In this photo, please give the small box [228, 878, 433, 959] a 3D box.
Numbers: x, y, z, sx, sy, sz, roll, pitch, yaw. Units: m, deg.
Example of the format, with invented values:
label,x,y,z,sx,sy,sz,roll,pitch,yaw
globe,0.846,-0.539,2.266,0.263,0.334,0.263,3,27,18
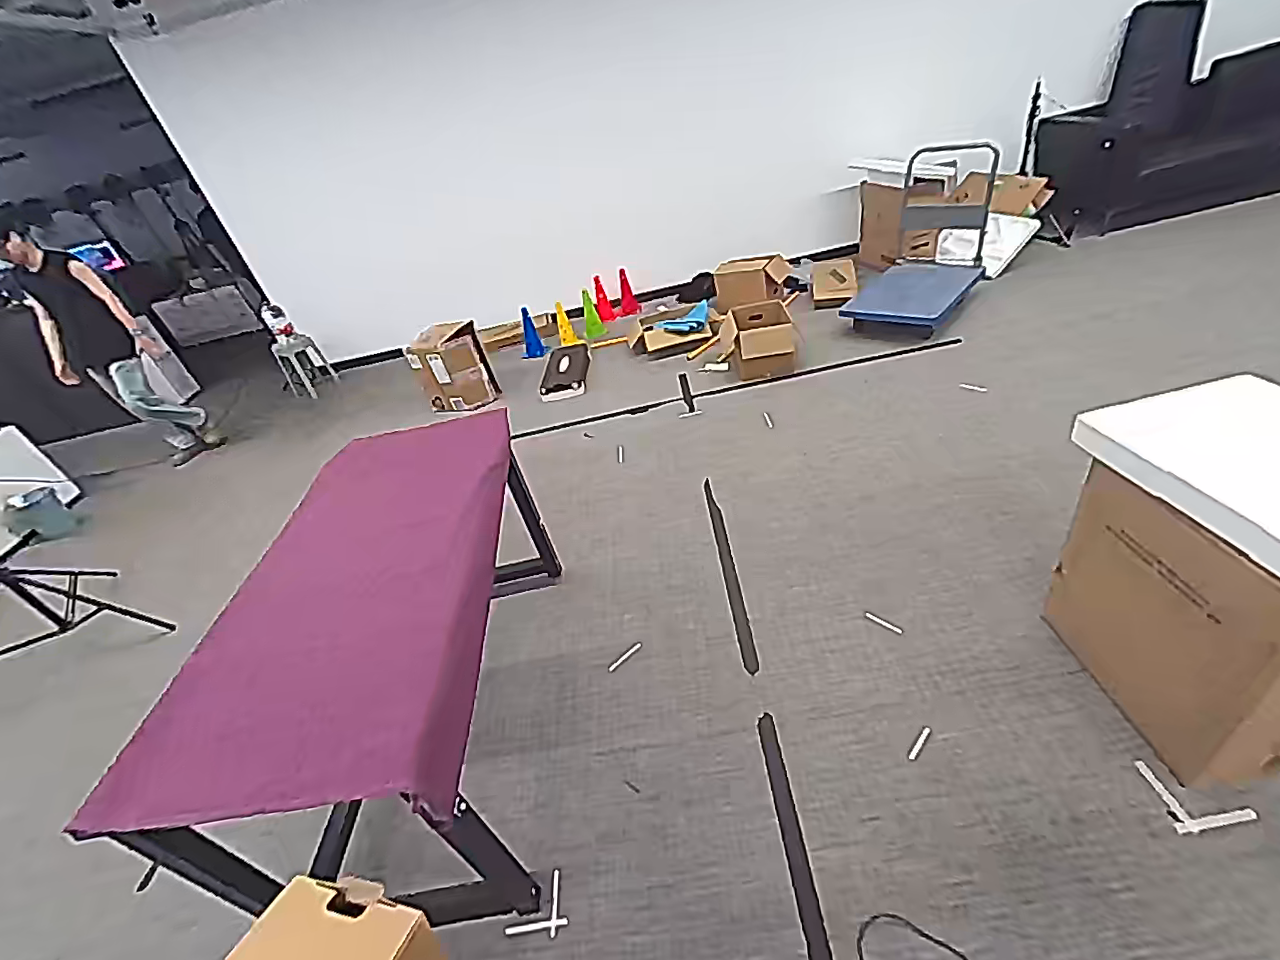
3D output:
label,x,y,z,sx,sy,sz,roll,pitch,yaw
small box,-0.287,0.512,0.479,0.168,0.176,0.179,-2,21,20
